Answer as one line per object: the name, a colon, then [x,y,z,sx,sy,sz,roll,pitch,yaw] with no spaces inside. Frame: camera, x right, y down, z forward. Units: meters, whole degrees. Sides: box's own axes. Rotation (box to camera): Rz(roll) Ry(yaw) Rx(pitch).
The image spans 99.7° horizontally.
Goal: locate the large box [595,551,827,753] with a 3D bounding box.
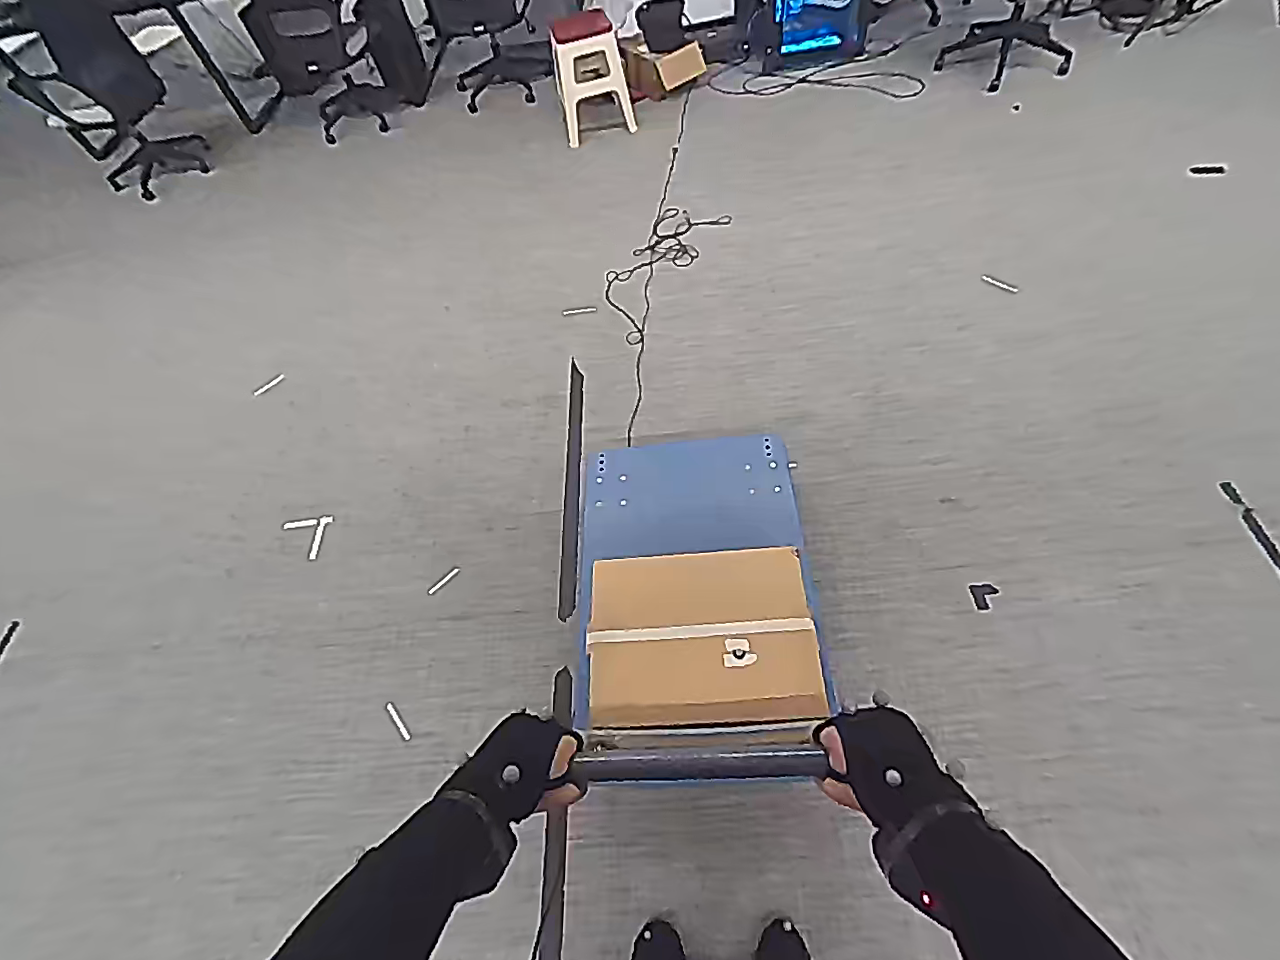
large box: [0.129,0.368,1.125,0.408,0.320,0.320,-5,58,5]
